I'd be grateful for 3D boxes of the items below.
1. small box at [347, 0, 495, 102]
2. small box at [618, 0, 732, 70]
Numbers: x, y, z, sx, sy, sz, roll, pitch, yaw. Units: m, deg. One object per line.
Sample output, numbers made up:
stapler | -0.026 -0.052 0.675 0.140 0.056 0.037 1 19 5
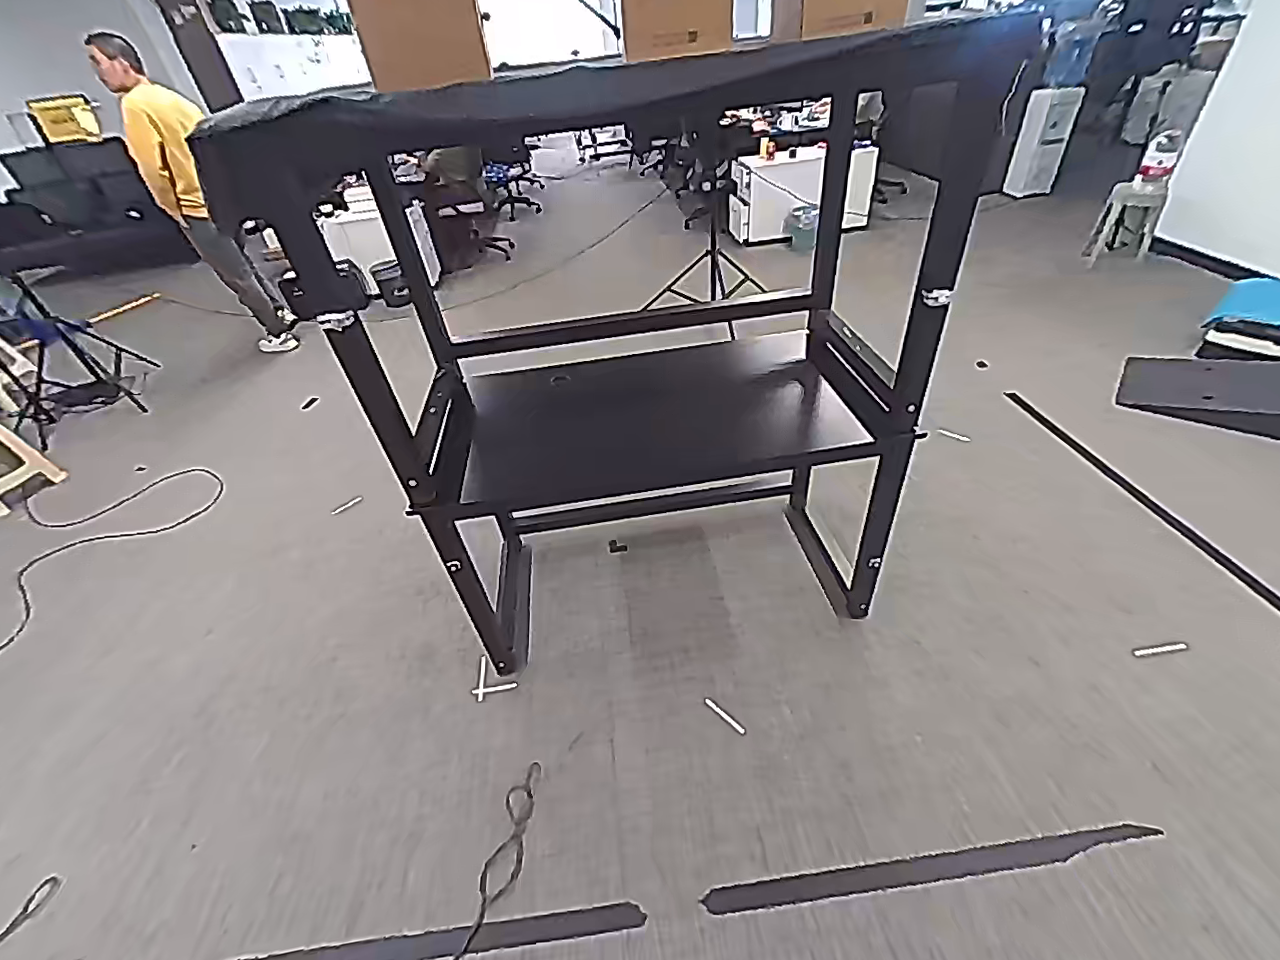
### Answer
small box | -0.325 -0.692 0.822 0.179 0.176 0.168 -11 38 -5
small box | 0.050 -0.762 0.852 0.168 0.176 0.179 -7 38 1
